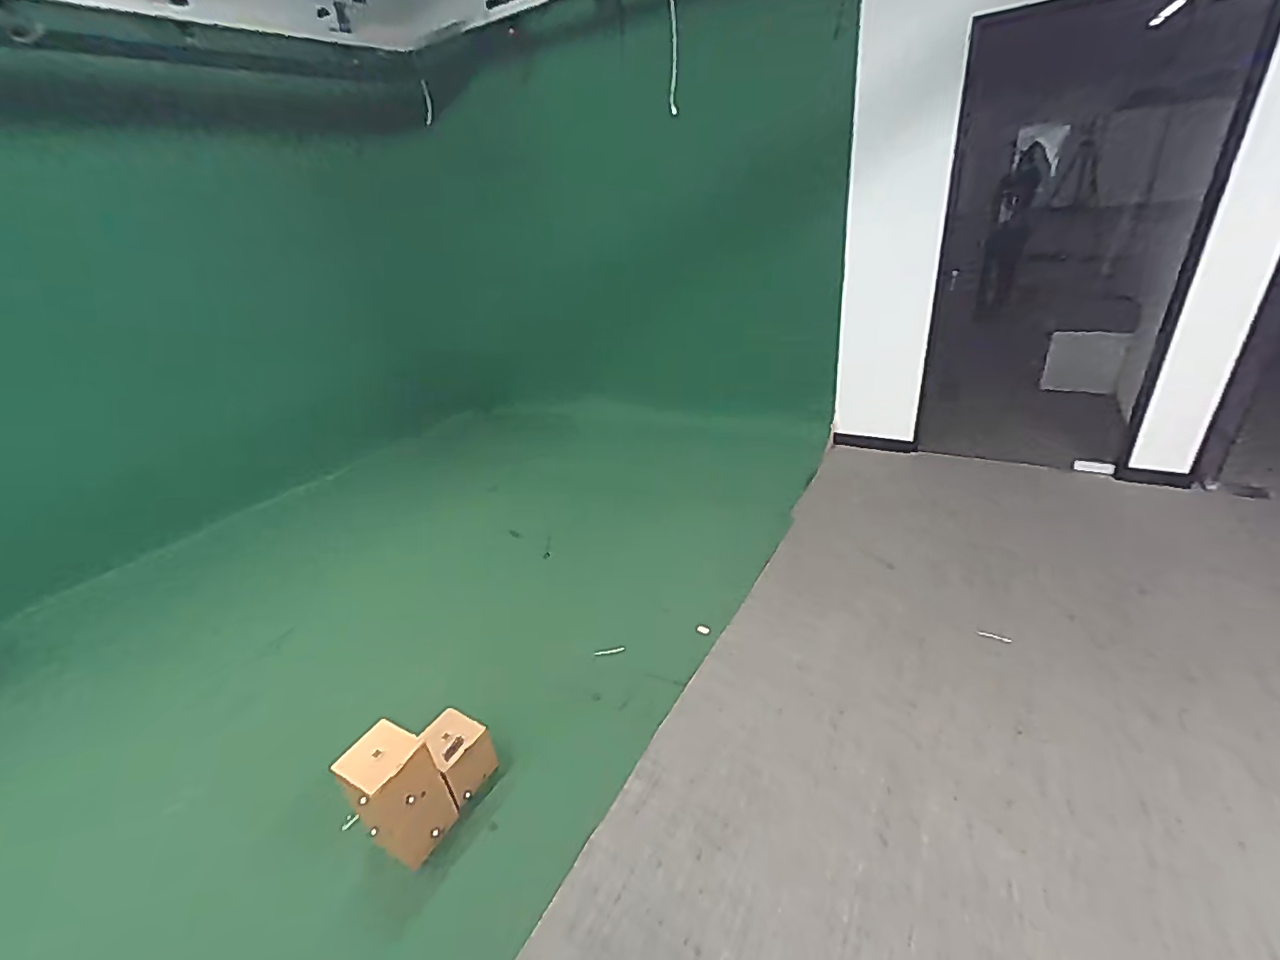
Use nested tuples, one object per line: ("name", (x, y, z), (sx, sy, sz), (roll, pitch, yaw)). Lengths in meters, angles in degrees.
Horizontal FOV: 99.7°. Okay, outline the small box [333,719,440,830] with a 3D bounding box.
("small box", (-0.667, 0.783, 1.437), (0.179, 0.176, 0.168), (10, 32, 28))
